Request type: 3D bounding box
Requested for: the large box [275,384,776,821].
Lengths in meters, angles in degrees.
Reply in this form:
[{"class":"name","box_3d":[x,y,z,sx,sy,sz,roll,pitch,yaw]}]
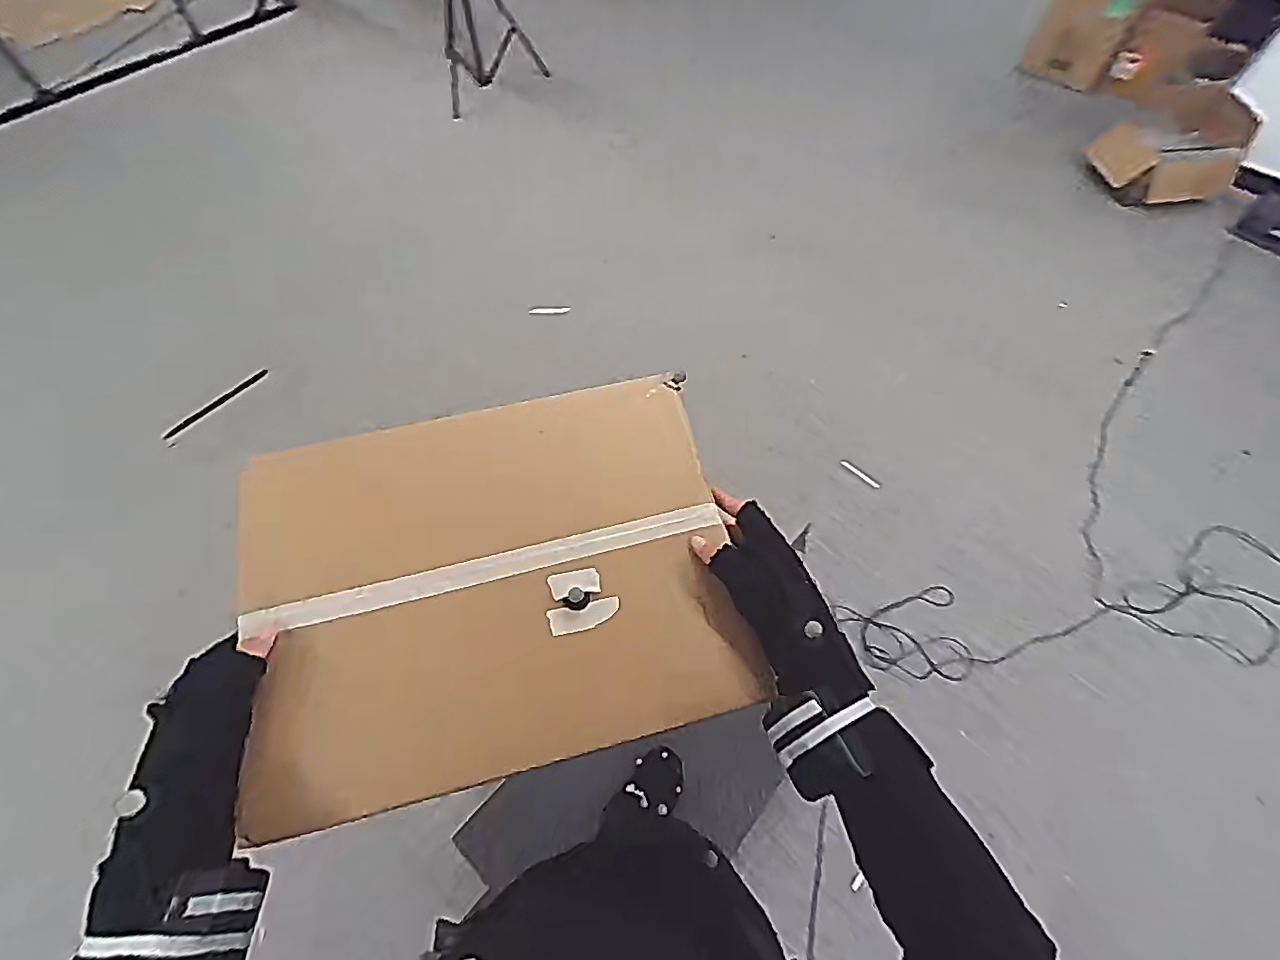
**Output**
[{"class":"large box","box_3d":[-0.118,0.137,0.615,0.408,0.320,0.320,-12,68,-7]}]
